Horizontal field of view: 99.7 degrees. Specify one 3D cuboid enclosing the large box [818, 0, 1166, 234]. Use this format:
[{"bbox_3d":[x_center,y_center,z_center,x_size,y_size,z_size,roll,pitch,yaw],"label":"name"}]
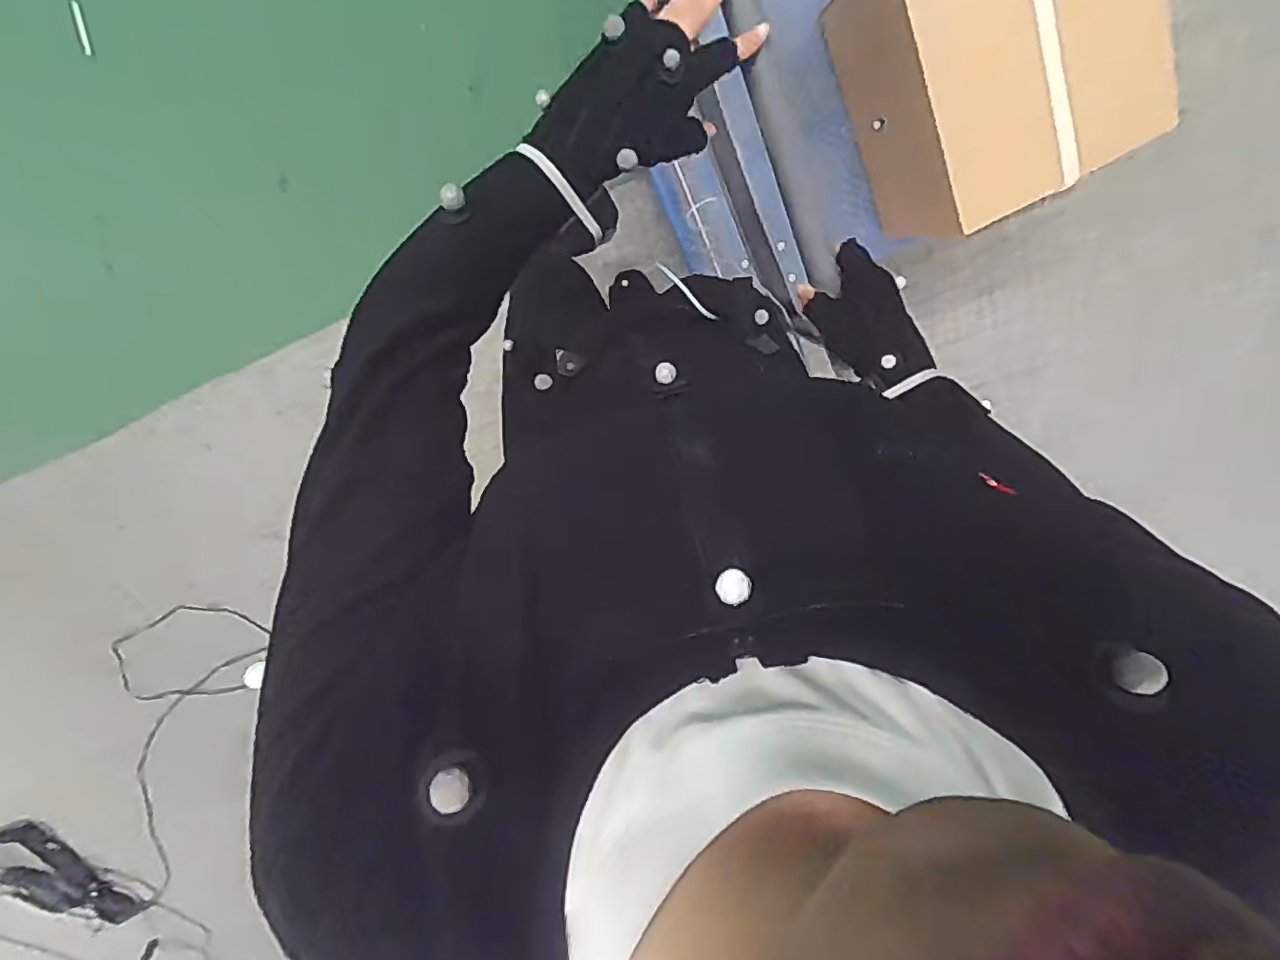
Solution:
[{"bbox_3d":[0.536,-0.666,0.876,0.320,0.320,0.408,-25,111,11],"label":"large box"}]
